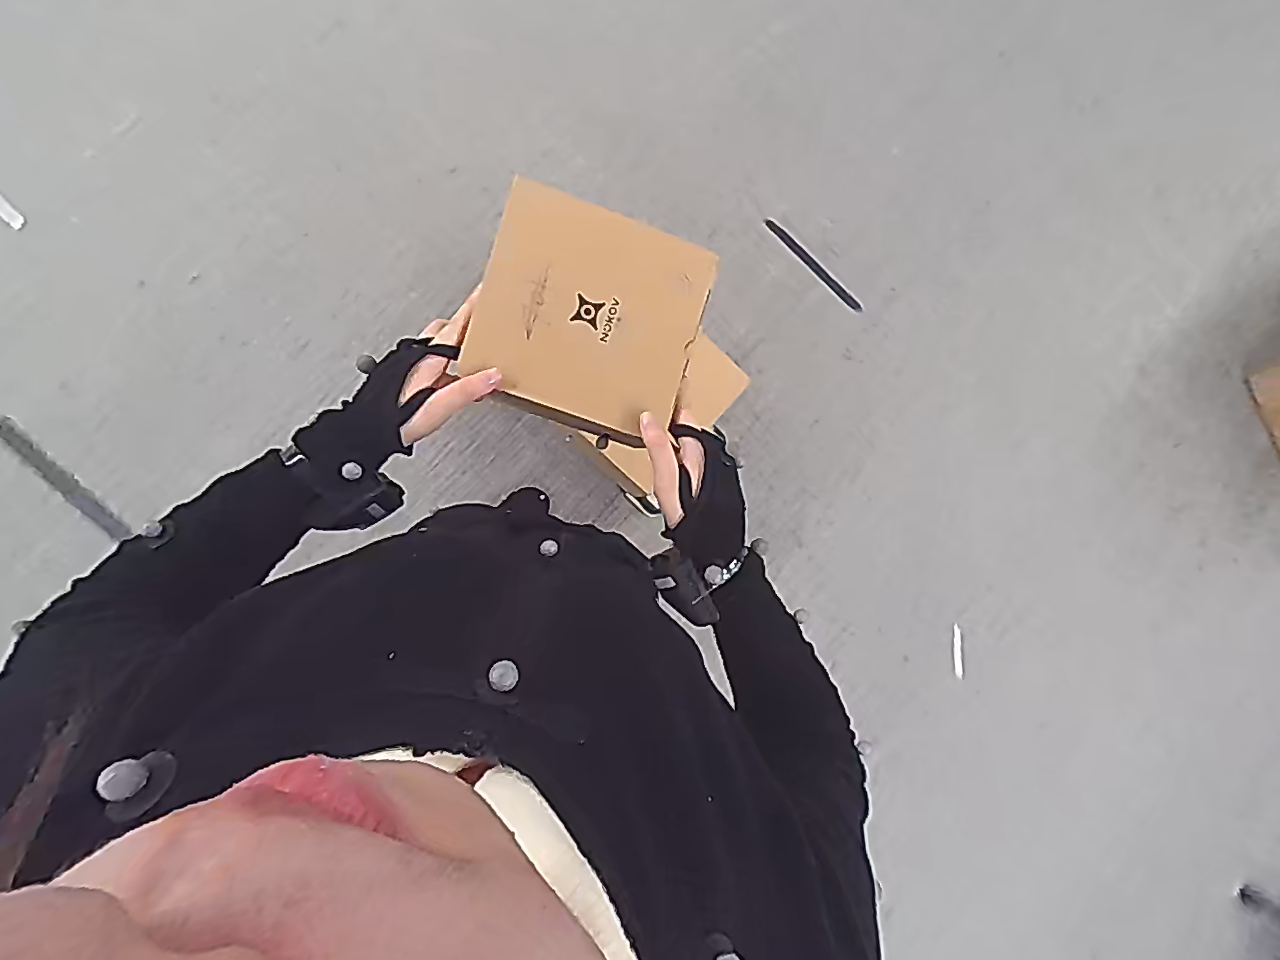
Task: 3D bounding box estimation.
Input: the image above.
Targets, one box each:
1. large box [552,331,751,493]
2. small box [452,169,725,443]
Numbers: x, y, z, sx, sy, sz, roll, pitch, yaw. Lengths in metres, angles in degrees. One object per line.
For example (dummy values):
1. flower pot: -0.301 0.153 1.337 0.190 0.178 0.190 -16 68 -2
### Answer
1. large box: -0.040 -0.211 1.183 0.408 0.320 0.320 43 83 -3
2. small box: -0.048 -0.137 0.498 0.179 0.176 0.168 17 90 -8
